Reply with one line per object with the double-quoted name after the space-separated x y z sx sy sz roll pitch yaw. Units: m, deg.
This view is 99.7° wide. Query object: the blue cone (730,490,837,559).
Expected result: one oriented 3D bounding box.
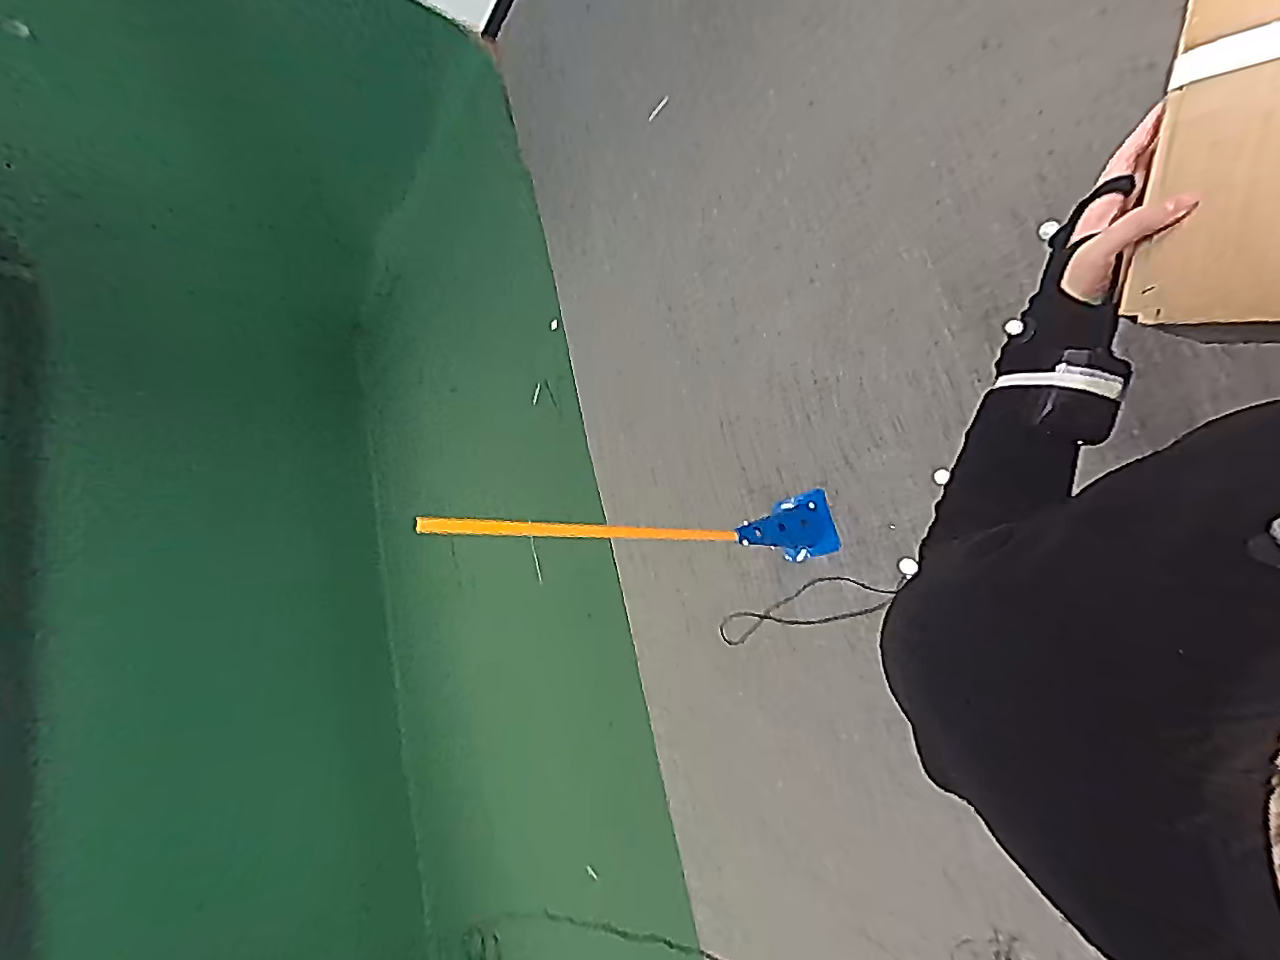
0.389 0.143 1.585 0.192 0.380 0.193 -29 69 44 "blue cone"
